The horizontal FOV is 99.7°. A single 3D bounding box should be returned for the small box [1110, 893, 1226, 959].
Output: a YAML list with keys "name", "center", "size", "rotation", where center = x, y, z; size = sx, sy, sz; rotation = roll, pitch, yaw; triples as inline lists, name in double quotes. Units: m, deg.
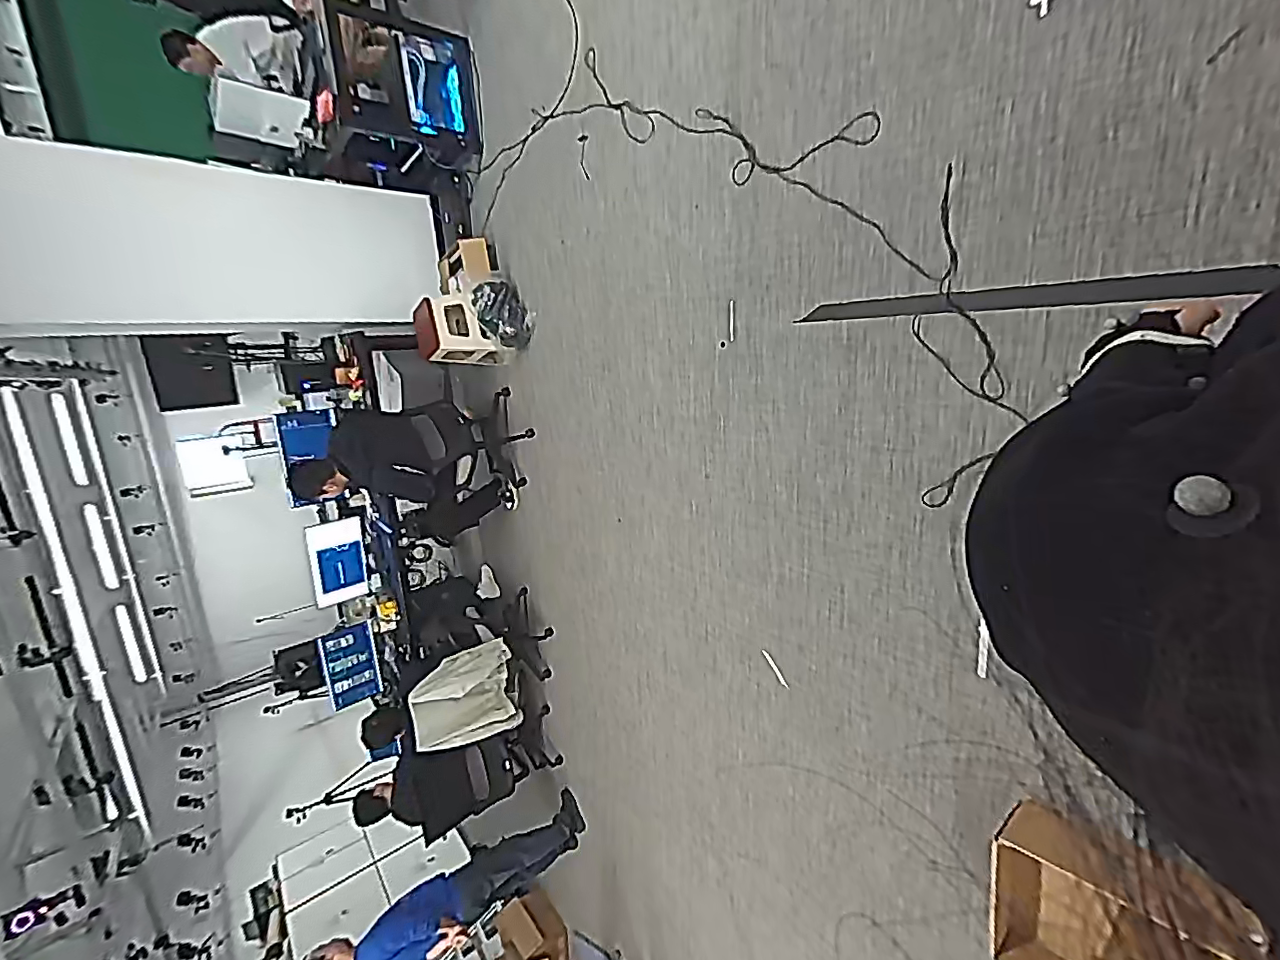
- name: "small box"
  center: [1.159, 1.075, 1.185]
  size: [0.168, 0.176, 0.179]
  rotation: [0, 101, 51]
